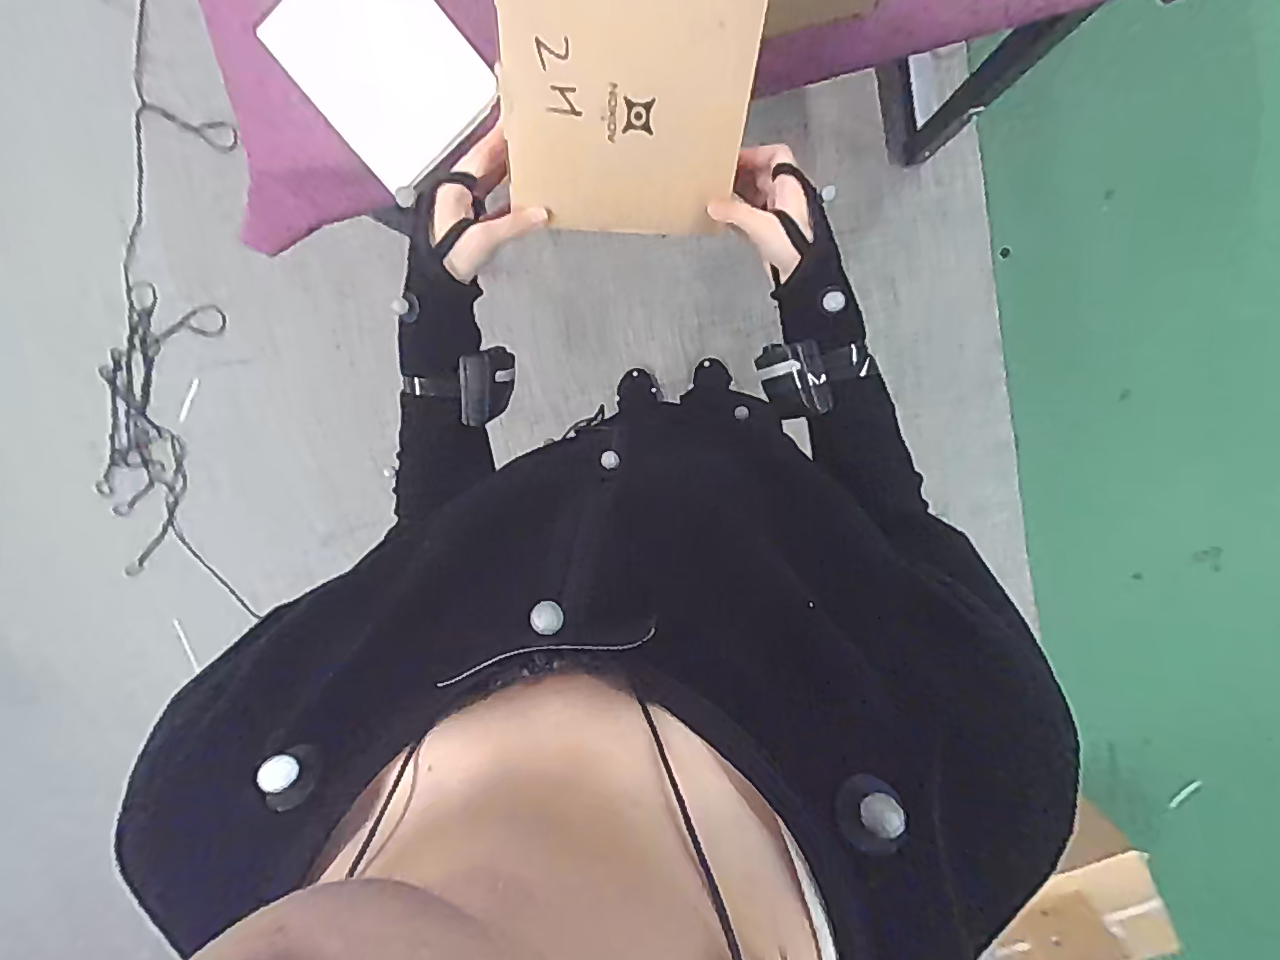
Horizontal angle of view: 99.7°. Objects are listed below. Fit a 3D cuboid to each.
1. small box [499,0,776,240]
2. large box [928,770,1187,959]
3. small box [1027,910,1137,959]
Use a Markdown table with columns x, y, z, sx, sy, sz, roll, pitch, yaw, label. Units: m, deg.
| x | y | z | sx | sy | sz | roll | pitch | yaw | label |
| --- | --- | --- | --- | --- | --- | --- | --- | --- | --- |
| -0.013 | -0.315 | 0.437 | 0.179 | 0.176 | 0.168 | 1 | 135 | -7 | small box |
| 1.088 | 1.077 | 1.458 | 0.408 | 0.320 | 0.320 | -27 | 98 | 7 | large box |
| 1.027 | 1.124 | 1.223 | 0.168 | 0.176 | 0.179 | -26 | 97 | 8 | small box |
